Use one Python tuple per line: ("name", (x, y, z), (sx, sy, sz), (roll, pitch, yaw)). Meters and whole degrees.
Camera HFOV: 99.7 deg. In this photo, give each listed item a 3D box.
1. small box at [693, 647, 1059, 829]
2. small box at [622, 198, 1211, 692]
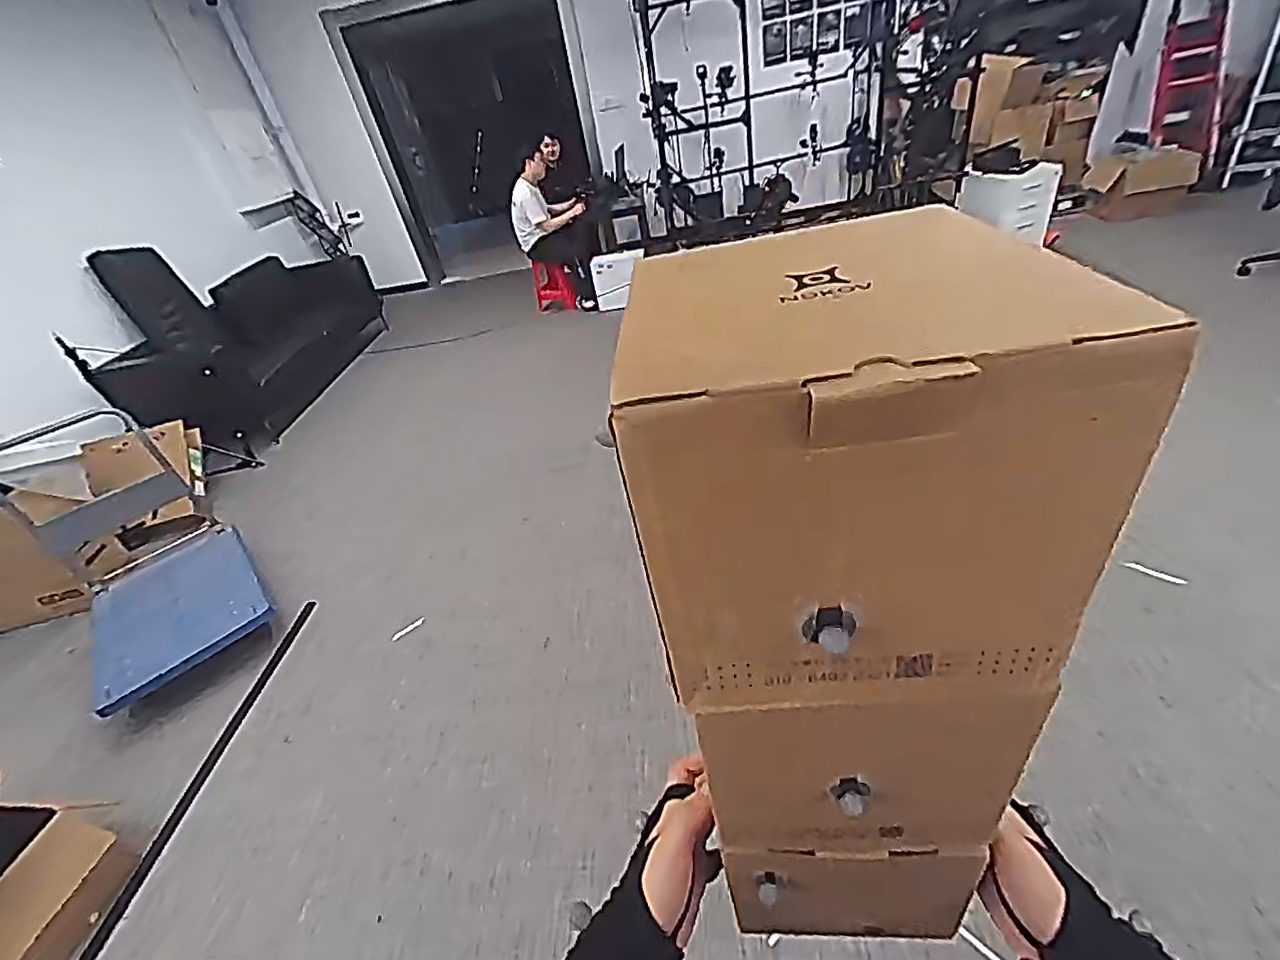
("small box", (0.125, 0.108, 0.360), (0.168, 0.176, 0.179), (-6, 34, 8))
("small box", (0.091, -0.023, 0.269), (0.168, 0.176, 0.179), (-7, 35, 8))
